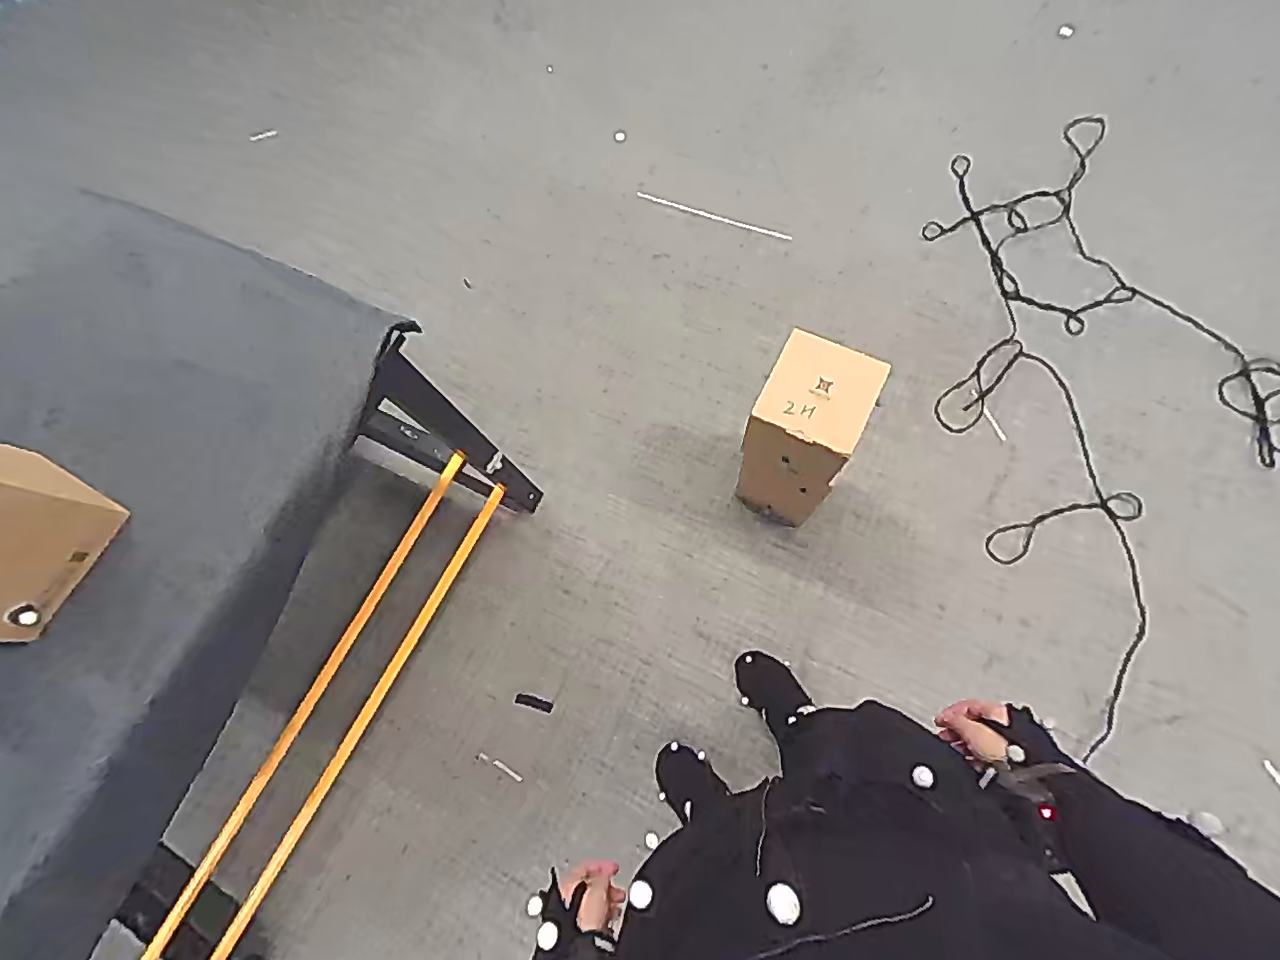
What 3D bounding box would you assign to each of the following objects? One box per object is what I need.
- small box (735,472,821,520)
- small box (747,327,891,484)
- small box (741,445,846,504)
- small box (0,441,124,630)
[{"bbox_3d":[0.335,-0.023,1.230,0.179,0.176,0.168,28,77,12],"label":"small box"},{"bbox_3d":[0.292,-0.119,0.921,0.168,0.176,0.179,26,77,13],"label":"small box"},{"bbox_3d":[0.315,-0.067,1.076,0.179,0.176,0.168,24,76,13],"label":"small box"},{"bbox_3d":[-0.713,0.046,0.560,0.179,0.176,0.168,25,77,14],"label":"small box"}]
